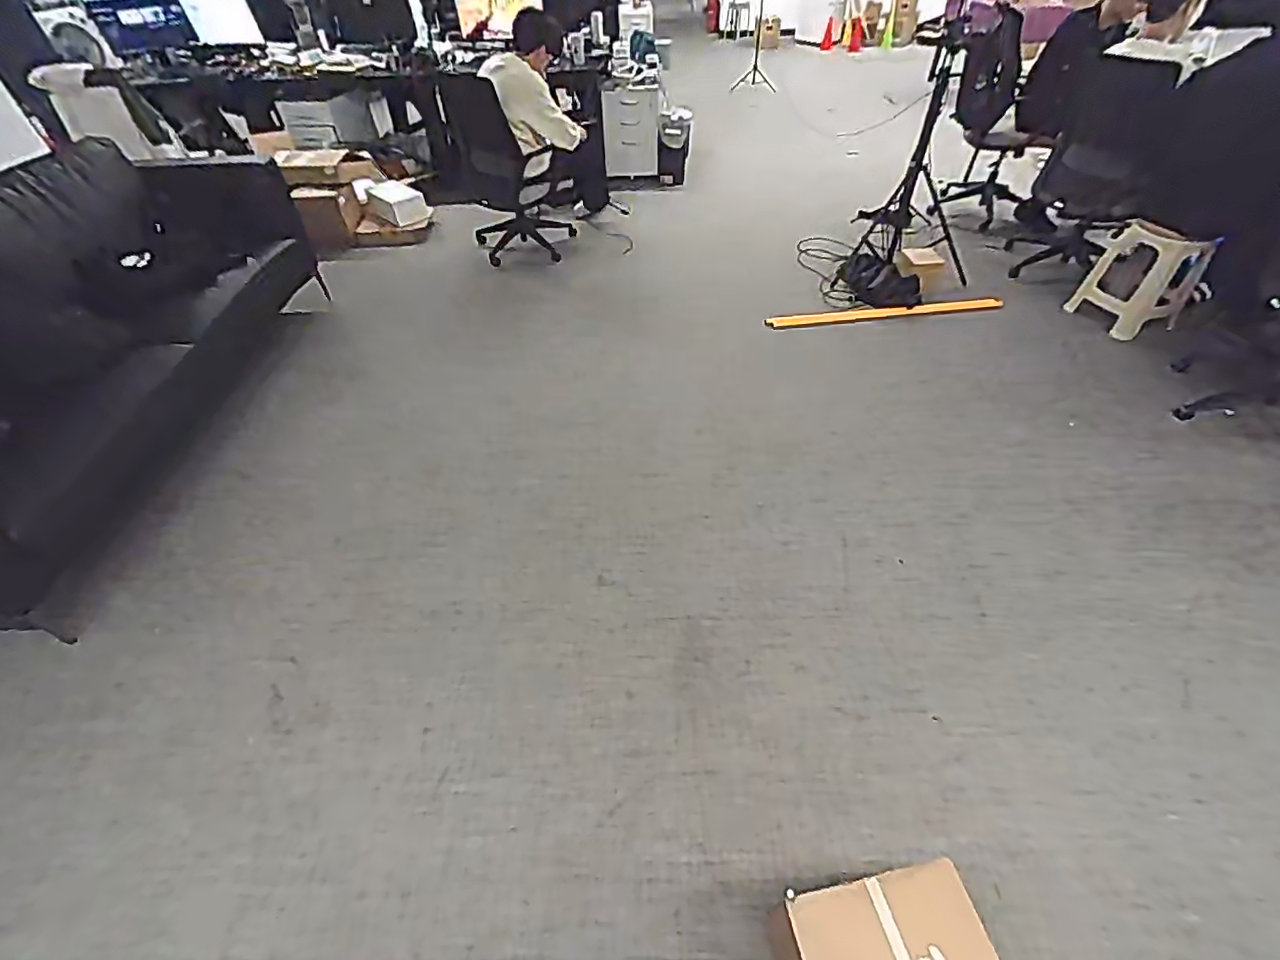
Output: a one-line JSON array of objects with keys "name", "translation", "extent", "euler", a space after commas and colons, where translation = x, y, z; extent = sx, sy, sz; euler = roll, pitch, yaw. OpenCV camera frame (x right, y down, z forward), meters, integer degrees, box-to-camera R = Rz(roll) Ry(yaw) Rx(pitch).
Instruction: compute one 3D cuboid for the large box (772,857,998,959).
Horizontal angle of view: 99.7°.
[{"name": "large box", "translation": [0.460, 0.955, 0.942], "extent": [0.320, 0.320, 0.408], "euler": [-10, 47, -6]}]
